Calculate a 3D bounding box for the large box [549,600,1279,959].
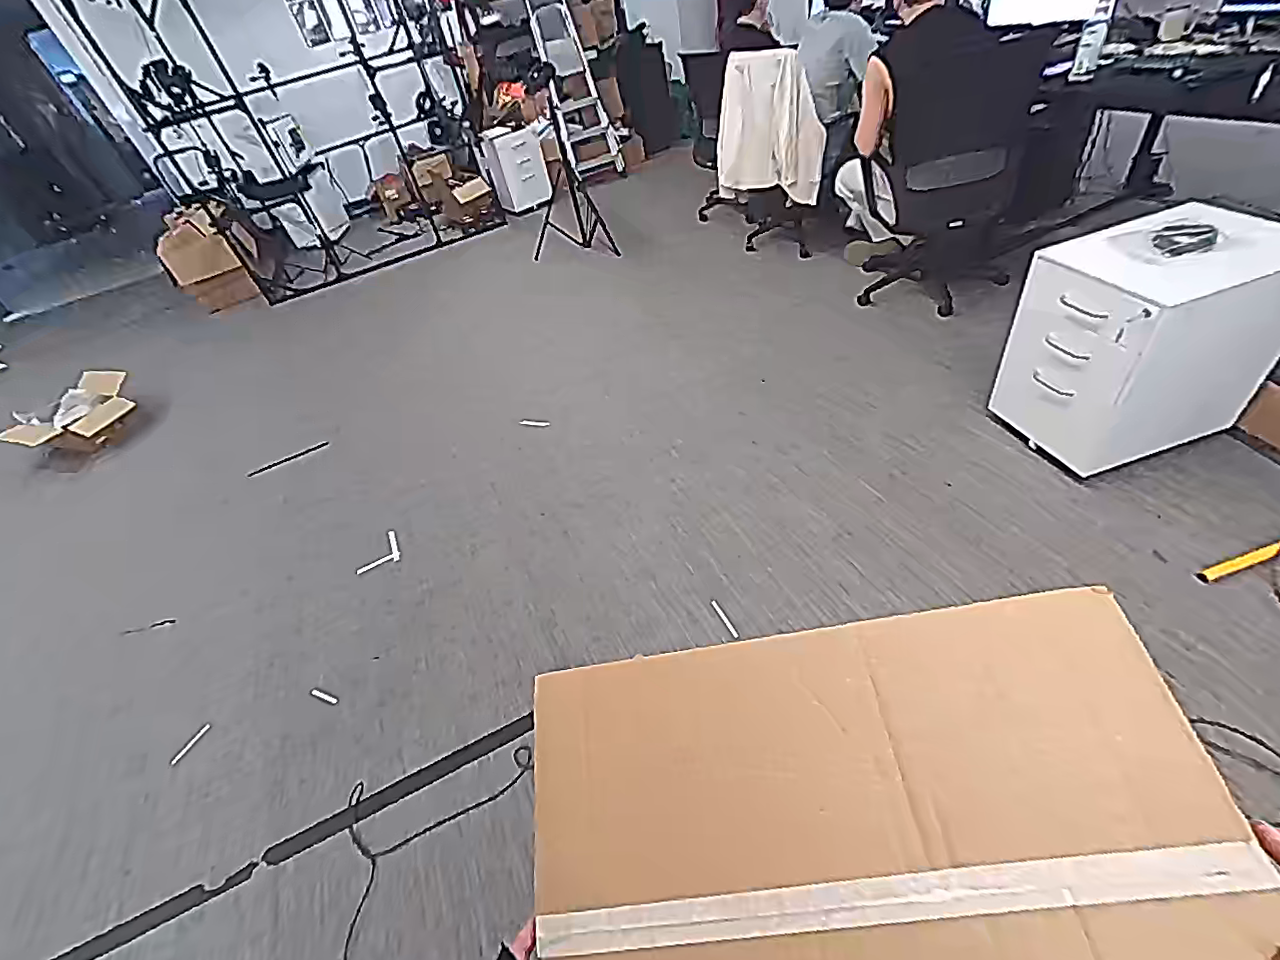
[{"bbox_3d":[0.169,0.327,0.444,0.408,0.320,0.320,-12,59,7],"label":"large box"}]
